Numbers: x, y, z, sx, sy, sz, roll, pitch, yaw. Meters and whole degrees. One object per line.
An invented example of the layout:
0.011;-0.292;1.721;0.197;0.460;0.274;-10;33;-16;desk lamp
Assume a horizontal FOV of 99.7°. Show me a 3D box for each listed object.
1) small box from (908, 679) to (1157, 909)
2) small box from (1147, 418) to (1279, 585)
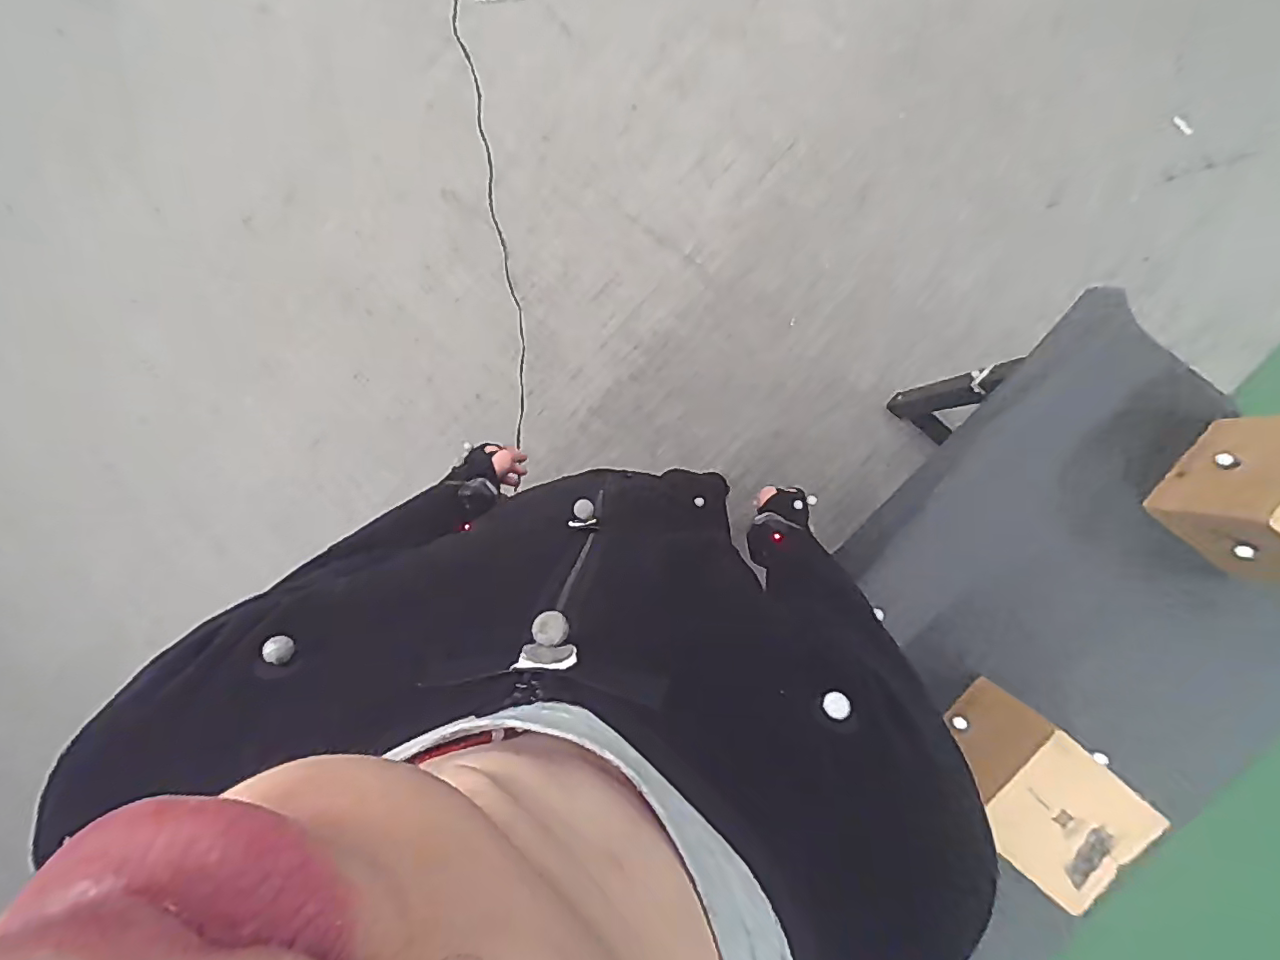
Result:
0.514;0.409;0.738;0.179;0.176;0.168;41;94;1;small box
0.841;0.032;0.703;0.179;0.176;0.168;39;95;1;small box
